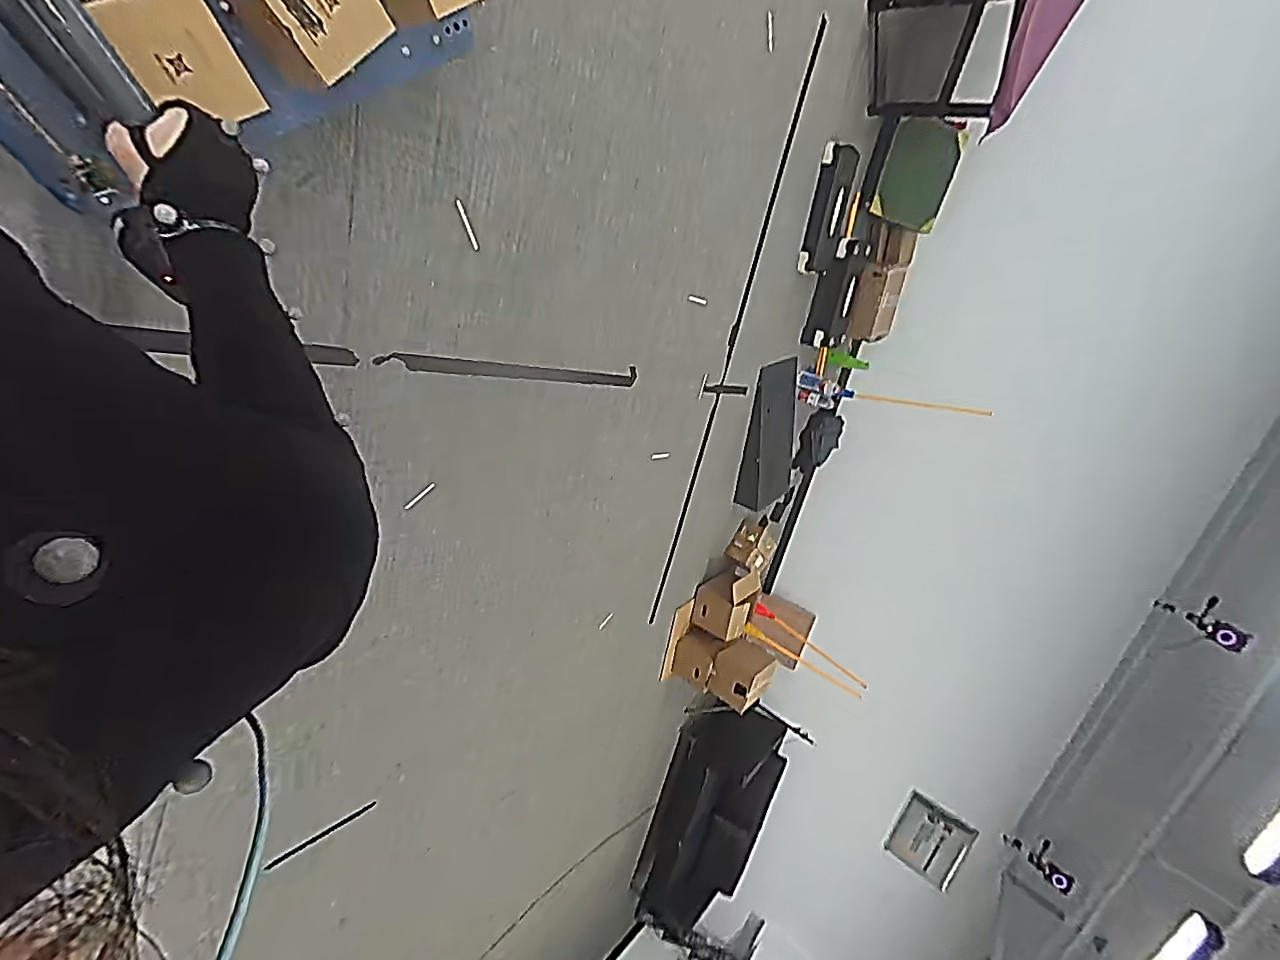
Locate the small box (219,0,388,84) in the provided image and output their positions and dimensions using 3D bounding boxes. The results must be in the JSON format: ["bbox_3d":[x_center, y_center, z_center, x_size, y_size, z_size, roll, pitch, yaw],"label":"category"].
[{"bbox_3d":[-0.583,-0.811,0.924,0.179,0.176,0.168,-55,147,-16],"label":"small box"}]

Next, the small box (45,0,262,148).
[{"bbox_3d":[-0.741,-0.631,0.827,0.179,0.176,0.168,-47,145,-25],"label":"small box"}]

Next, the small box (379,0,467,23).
[{"bbox_3d":[-0.418,-1.002,1.025,0.179,0.176,0.168,-49,145,-22],"label":"small box"}]
